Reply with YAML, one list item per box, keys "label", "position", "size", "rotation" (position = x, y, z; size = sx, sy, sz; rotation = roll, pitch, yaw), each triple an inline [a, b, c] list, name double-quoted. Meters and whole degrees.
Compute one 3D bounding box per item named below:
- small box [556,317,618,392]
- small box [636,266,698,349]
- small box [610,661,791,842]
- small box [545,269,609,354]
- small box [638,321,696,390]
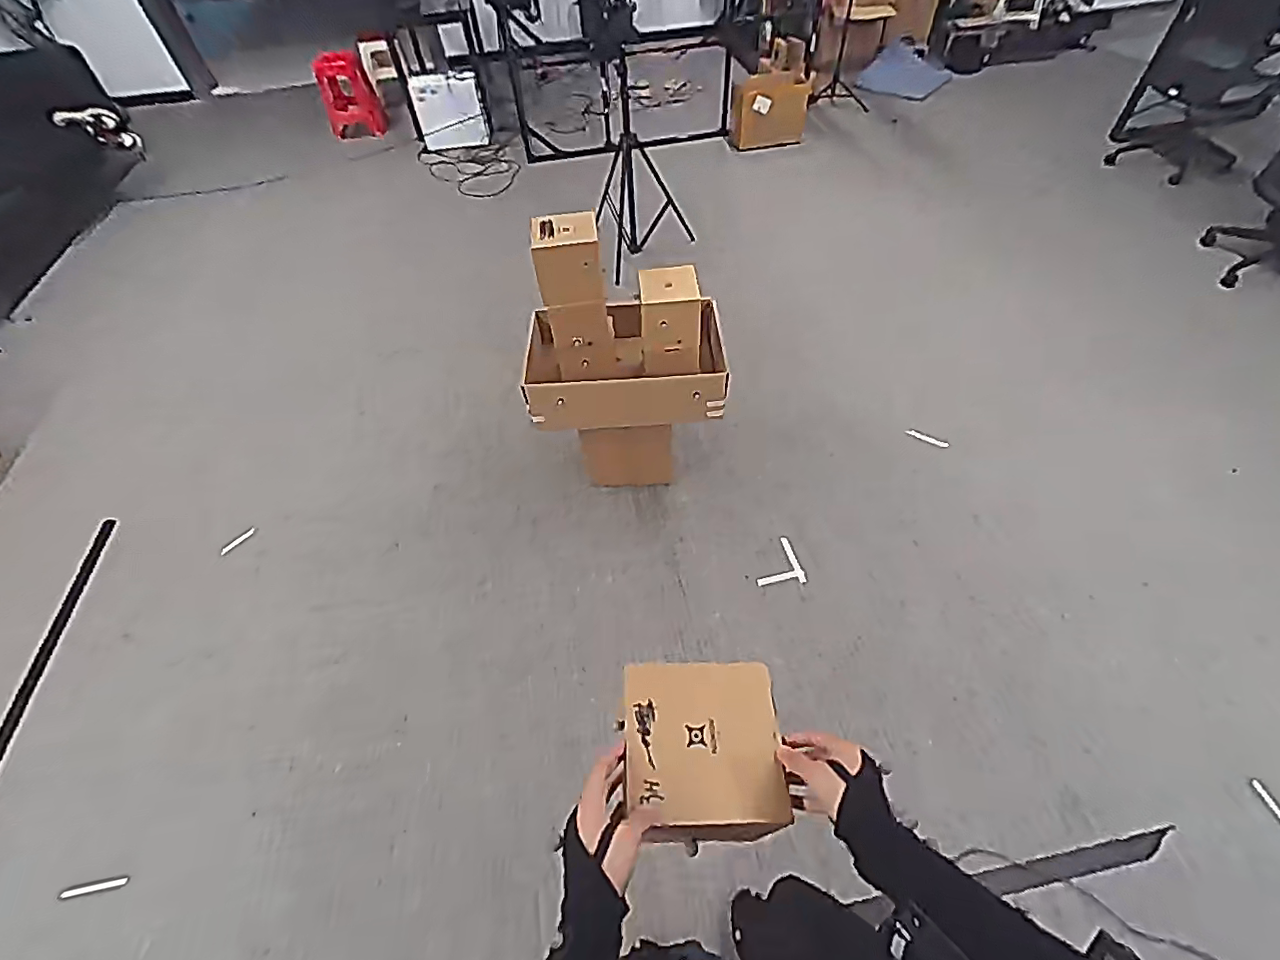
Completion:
- label: "small box"
  position: [-0.168, -0.398, 1.732]
  size: [0.179, 0.176, 0.168]
  rotation: [-6, 52, -1]
- label: "small box"
  position: [0.079, -0.500, 1.588]
  size: [0.168, 0.176, 0.179]
  rotation: [-5, 51, 0]
- label: "small box"
  position: [0.059, 0.331, 0.655]
  size: [0.179, 0.176, 0.168]
  rotation: [3, 51, -6]
- label: "small box"
  position: [-0.187, -0.498, 1.604]
  size: [0.168, 0.176, 0.179]
  rotation: [-8, 52, -2]
- label: "small box"
  position: [0.087, -0.399, 1.715]
  size: [0.168, 0.176, 0.179]
  rotation: [-6, 51, 0]
